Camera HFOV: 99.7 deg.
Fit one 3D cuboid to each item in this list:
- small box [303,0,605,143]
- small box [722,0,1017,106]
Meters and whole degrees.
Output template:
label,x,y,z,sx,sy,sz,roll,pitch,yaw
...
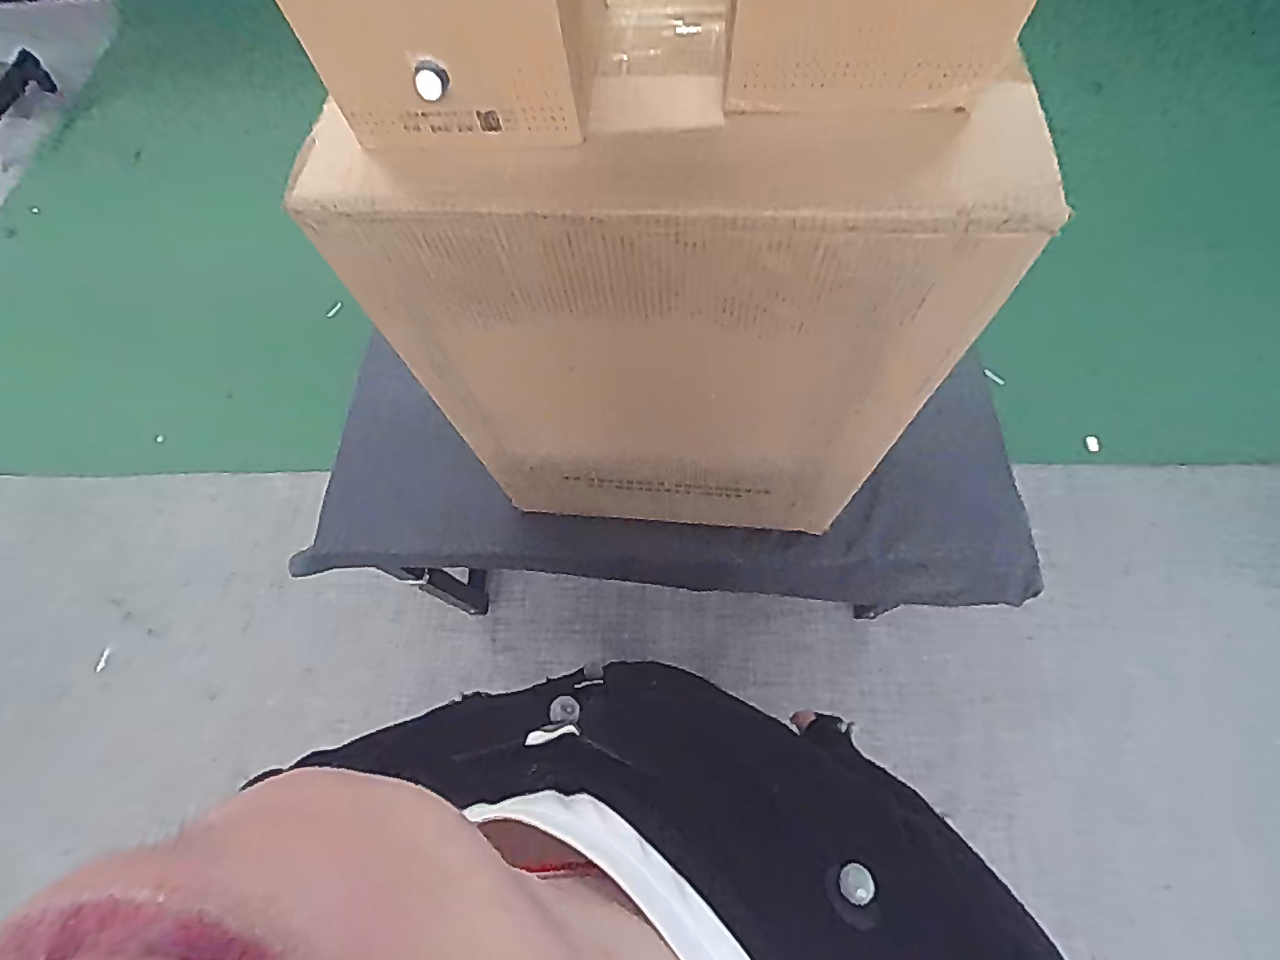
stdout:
label,x,y,z,sx,sy,sz,roll,pitch,yaw
small box,-0.118,-0.352,0.342,0.168,0.176,0.179,3,69,6
small box,0.145,-0.364,0.330,0.179,0.176,0.168,3,70,3
